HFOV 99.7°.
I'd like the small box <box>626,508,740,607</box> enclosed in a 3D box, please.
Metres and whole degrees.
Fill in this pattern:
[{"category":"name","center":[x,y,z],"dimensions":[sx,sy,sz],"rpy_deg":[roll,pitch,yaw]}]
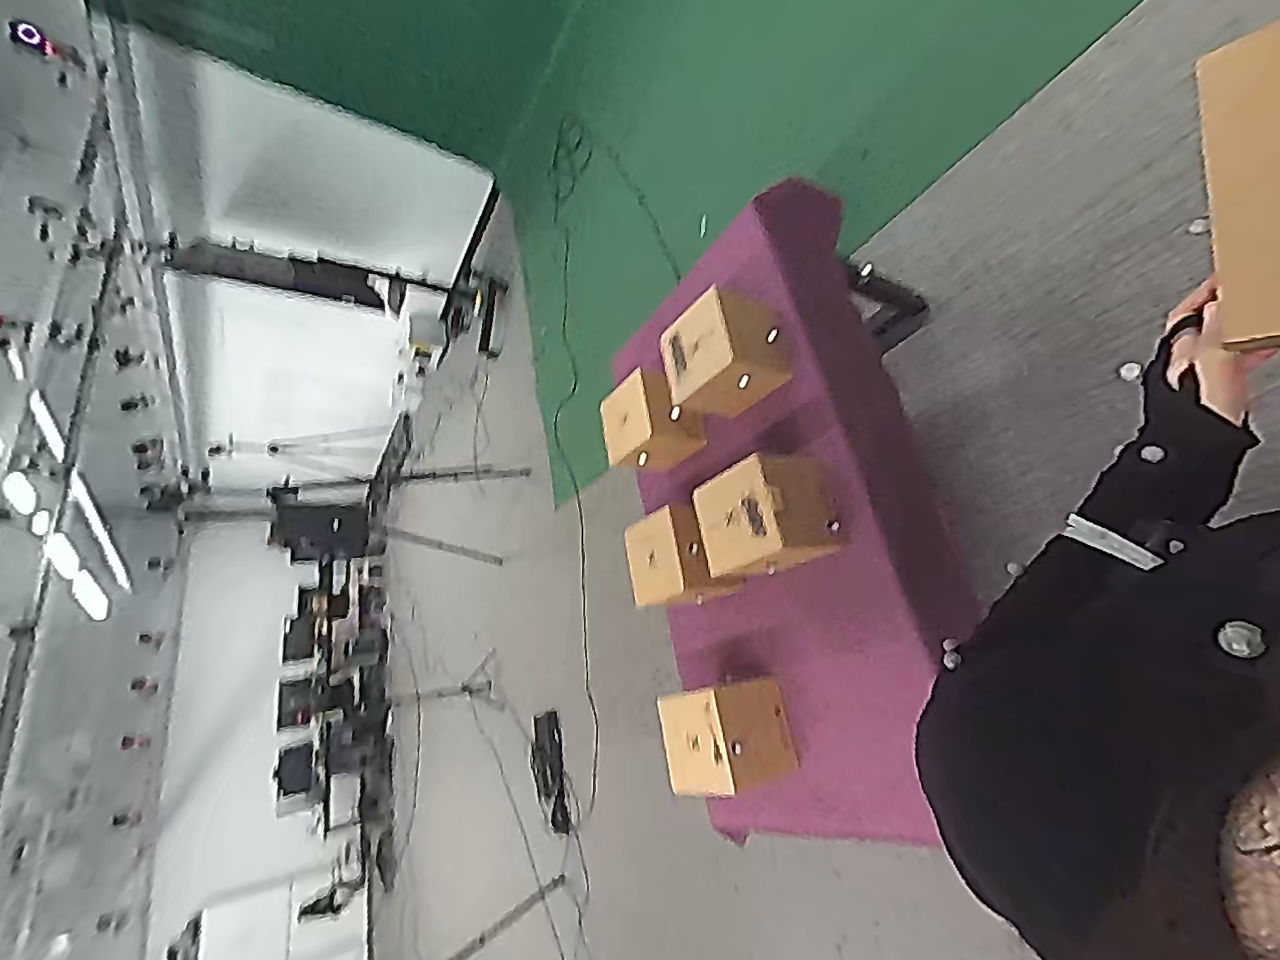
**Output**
[{"category":"small box","center":[0.093,0.167,1.167],"dimensions":[0.168,0.176,0.179],"rpy_deg":[-33,59,48]}]

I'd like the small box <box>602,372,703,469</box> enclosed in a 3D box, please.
[{"category":"small box","center":[0.033,-0.133,1.285],"dimensions":[0.179,0.176,0.168],"rpy_deg":[-34,60,49]}]

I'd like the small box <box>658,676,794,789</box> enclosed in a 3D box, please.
[{"category":"small box","center":[0.161,0.477,1.032],"dimensions":[0.179,0.176,0.168],"rpy_deg":[-37,57,48]}]

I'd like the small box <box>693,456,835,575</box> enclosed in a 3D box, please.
[{"category":"small box","center":[0.228,0.068,0.981],"dimensions":[0.179,0.176,0.168],"rpy_deg":[-37,57,49]}]

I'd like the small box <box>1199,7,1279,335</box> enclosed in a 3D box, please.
[{"category":"small box","center":[0.448,-0.182,0.297],"dimensions":[0.179,0.176,0.168],"rpy_deg":[-3,95,52]}]
